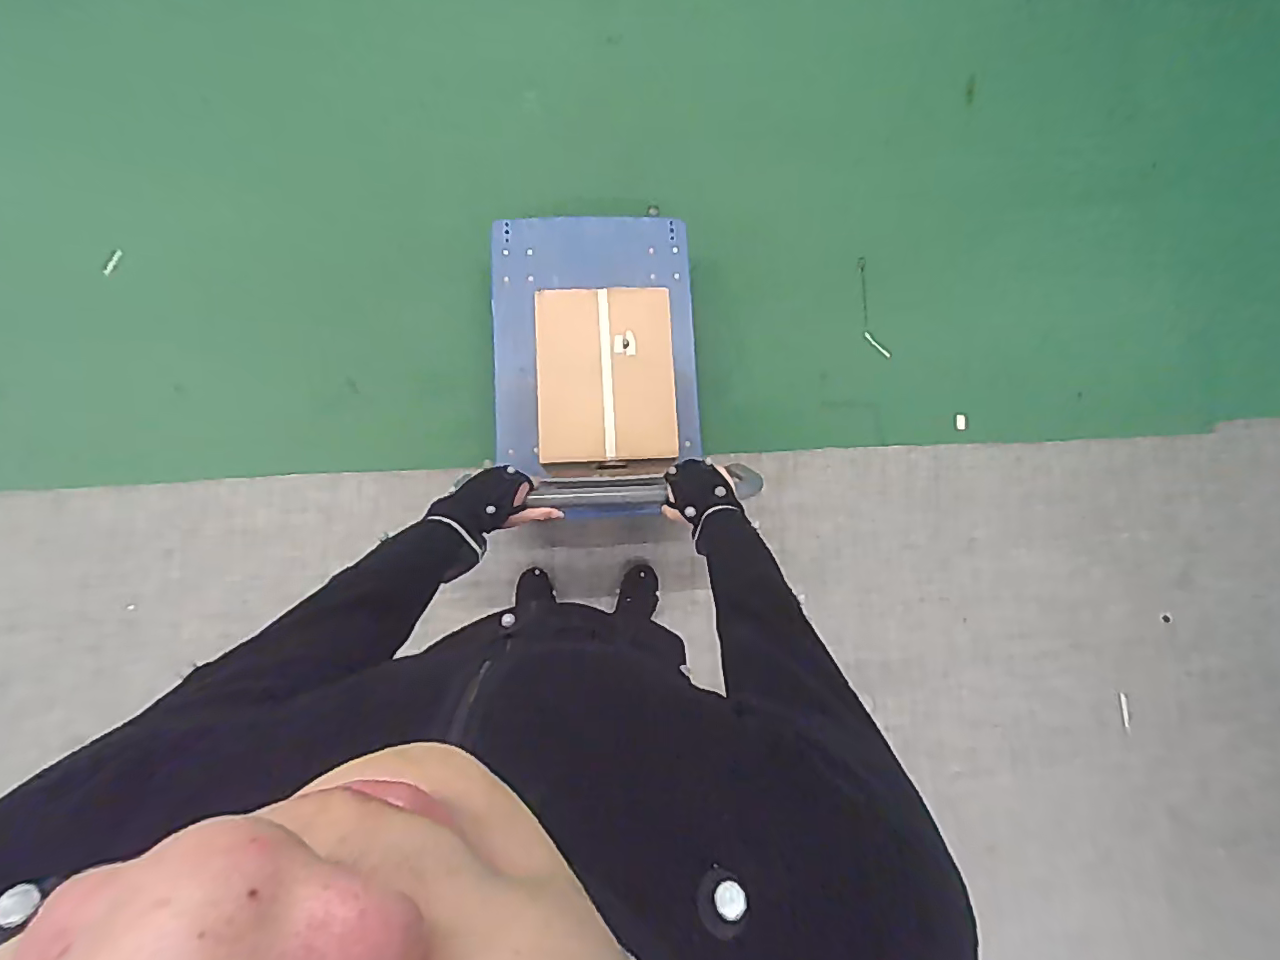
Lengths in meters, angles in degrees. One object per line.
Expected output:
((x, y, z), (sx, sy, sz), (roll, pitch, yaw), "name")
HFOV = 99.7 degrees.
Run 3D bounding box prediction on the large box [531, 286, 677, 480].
((-0.093, -0.226, 1.367), (0.320, 0.320, 0.408), (-3, 82, -5), "large box")
